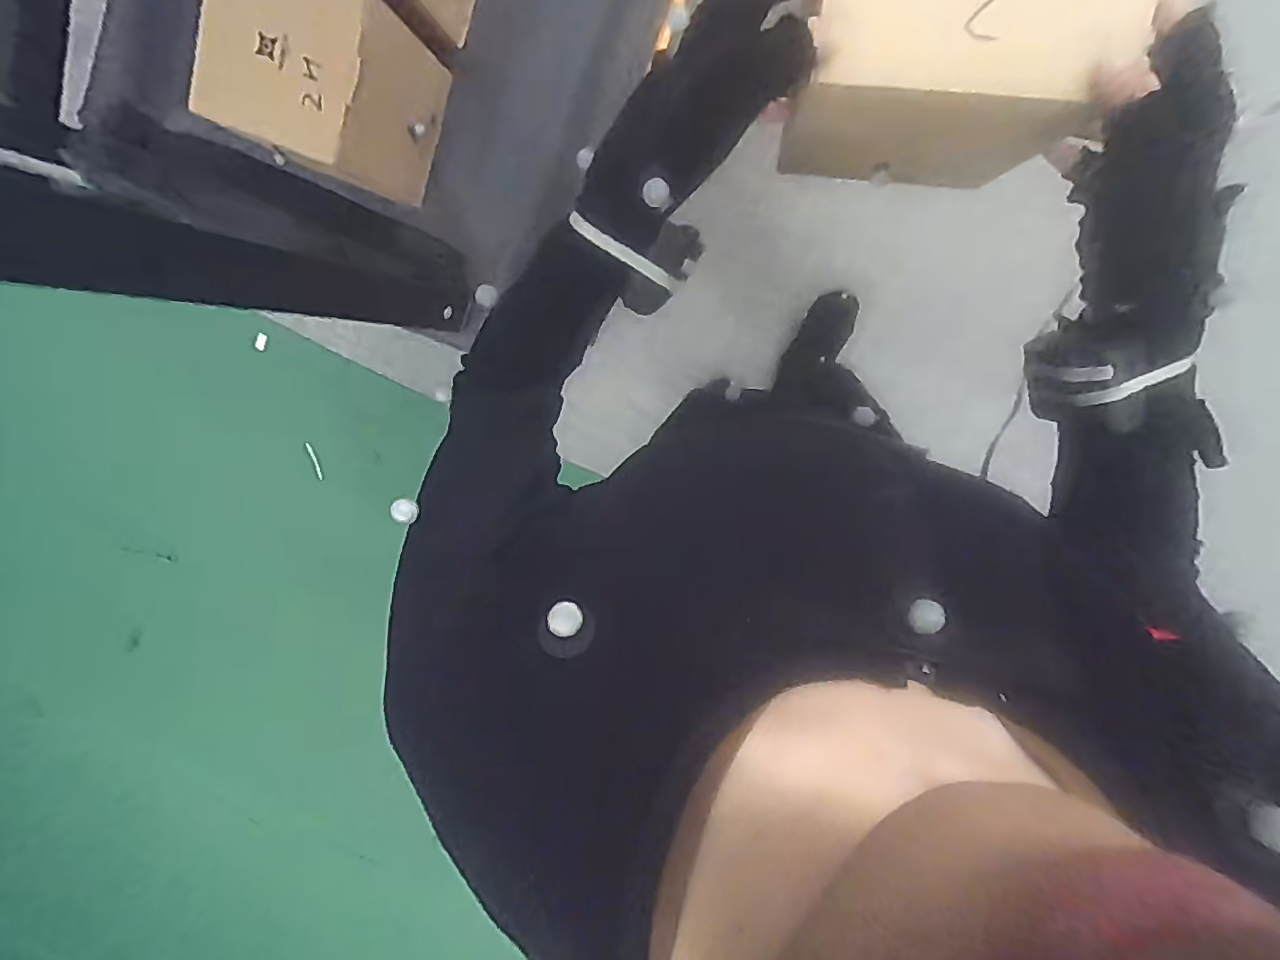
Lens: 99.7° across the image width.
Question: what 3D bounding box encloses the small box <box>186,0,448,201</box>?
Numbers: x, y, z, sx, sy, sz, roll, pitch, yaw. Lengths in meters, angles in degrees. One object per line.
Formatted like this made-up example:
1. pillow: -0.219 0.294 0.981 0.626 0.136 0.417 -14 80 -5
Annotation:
1. small box: -0.355 -0.447 0.618 0.179 0.176 0.168 22 105 3
